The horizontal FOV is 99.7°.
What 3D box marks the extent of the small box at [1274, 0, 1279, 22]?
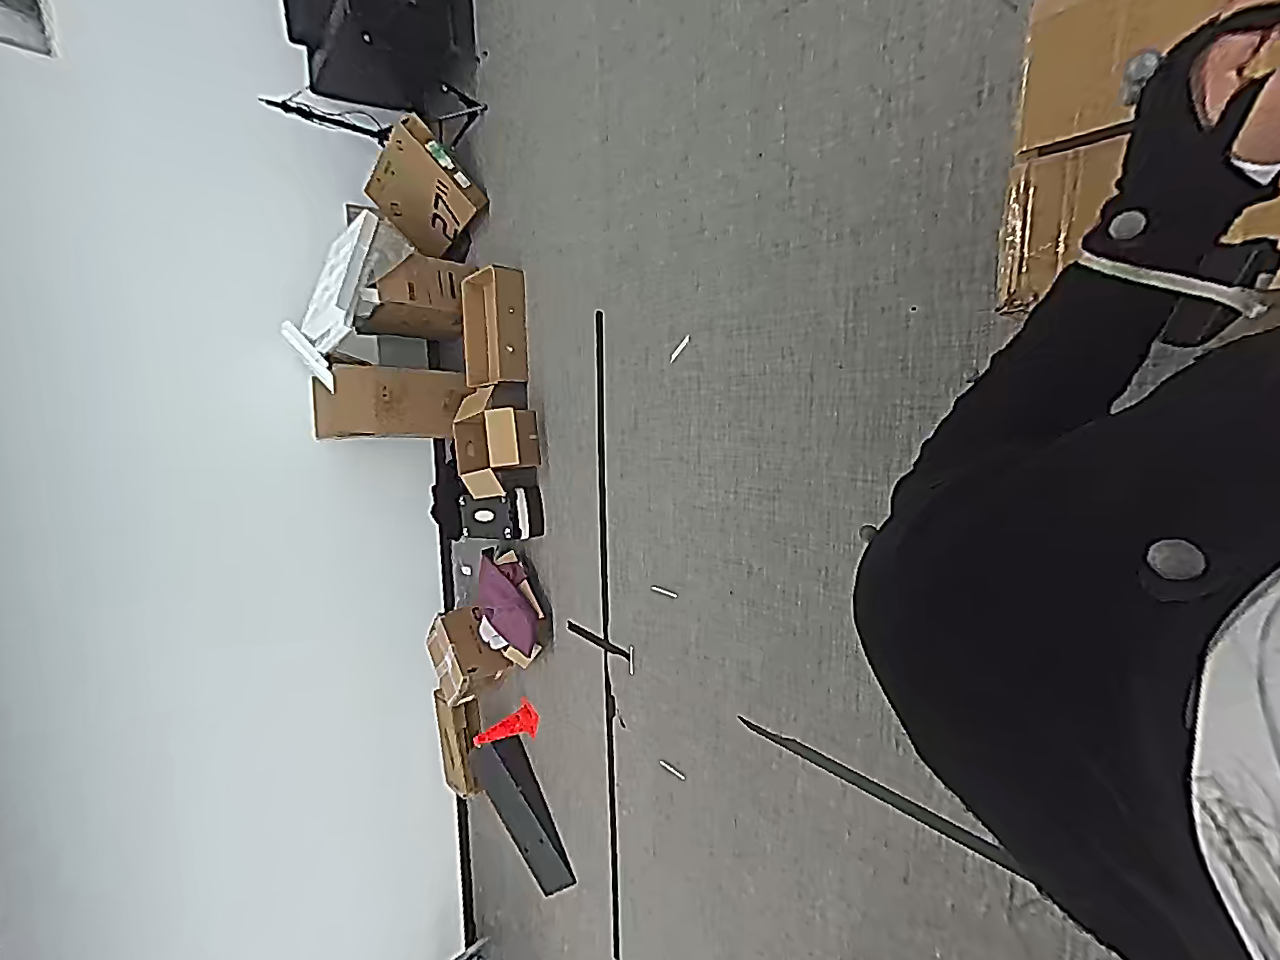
[{"bbox_3d":[0.417,-0.322,0.224,0.168,0.176,0.179,13,124,39],"label":"small box"}]
